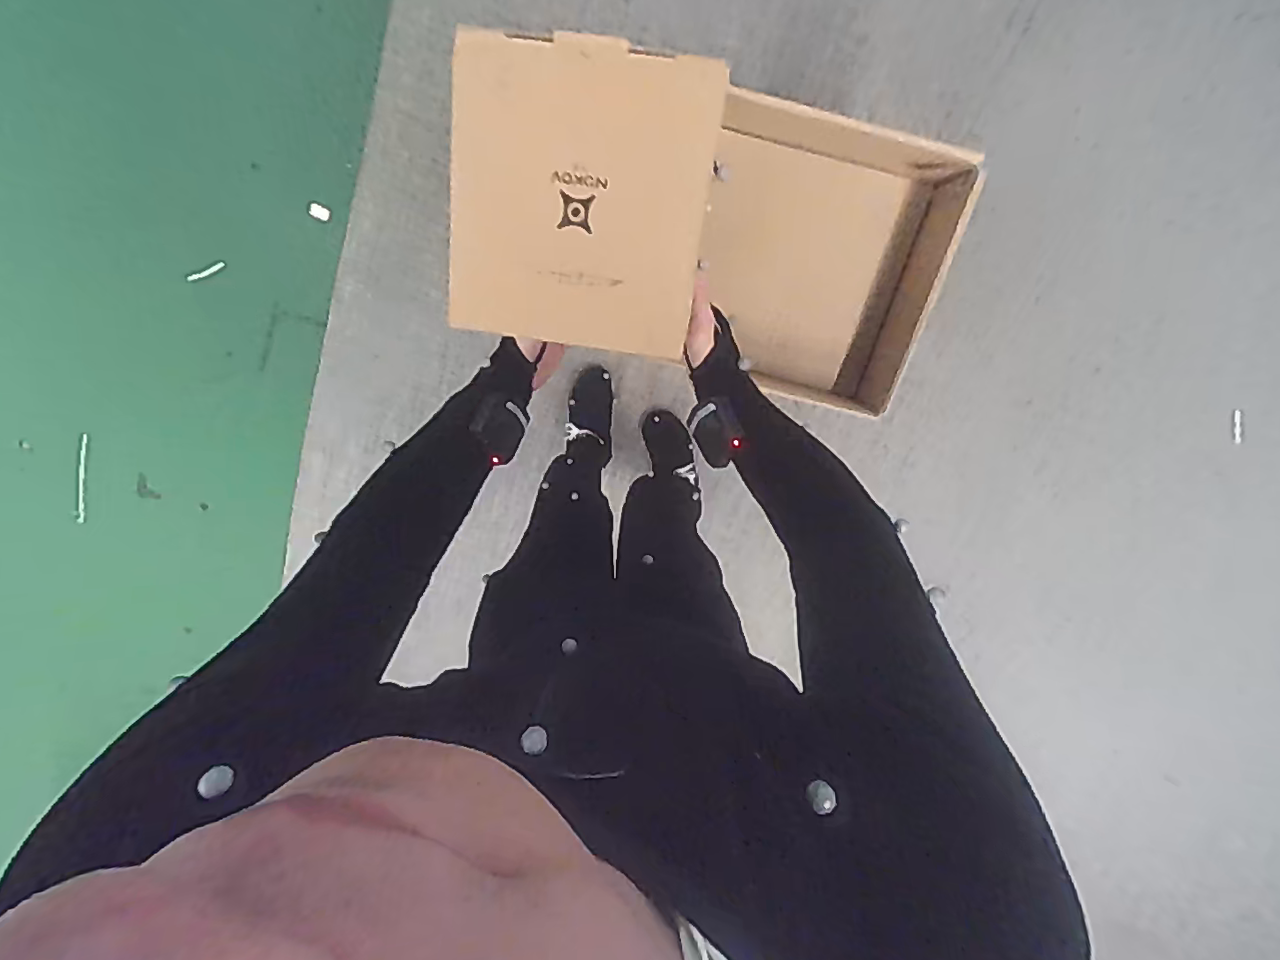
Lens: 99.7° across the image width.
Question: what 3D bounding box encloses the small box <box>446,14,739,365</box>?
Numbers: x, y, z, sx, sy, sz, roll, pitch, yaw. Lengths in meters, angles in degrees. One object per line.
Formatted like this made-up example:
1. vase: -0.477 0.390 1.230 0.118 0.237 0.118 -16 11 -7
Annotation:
1. small box: -0.031 -0.196 0.406 0.168 0.176 0.179 9 111 1
